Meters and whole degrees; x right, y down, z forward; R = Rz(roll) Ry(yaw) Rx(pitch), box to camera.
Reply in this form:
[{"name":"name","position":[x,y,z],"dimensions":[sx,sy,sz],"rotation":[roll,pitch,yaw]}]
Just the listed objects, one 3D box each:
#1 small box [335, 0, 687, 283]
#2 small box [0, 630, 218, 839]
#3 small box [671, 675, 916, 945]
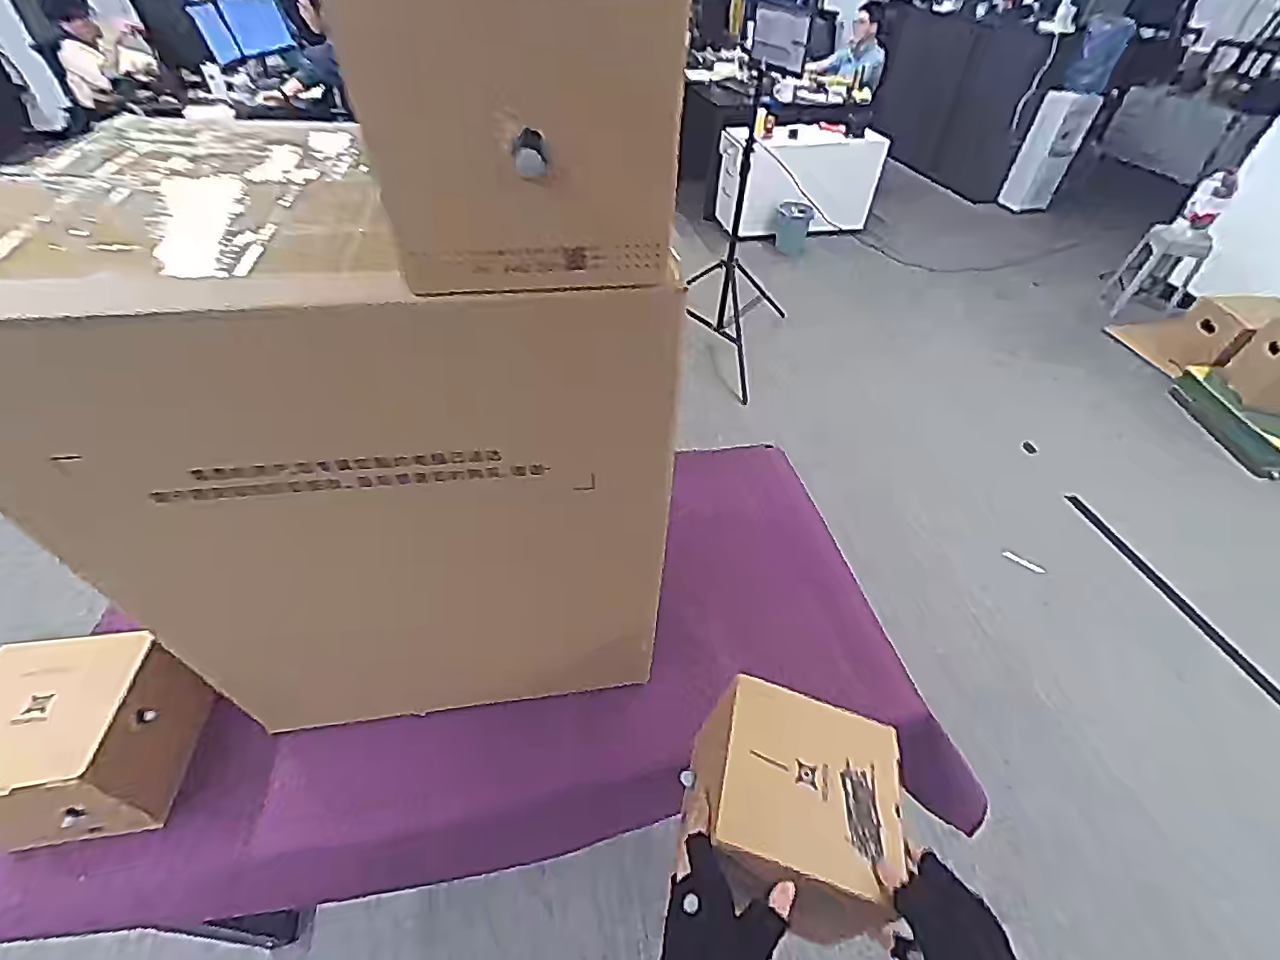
[{"name":"small box","position":[-0.067,-0.241,0.348],"dimensions":[0.168,0.176,0.179],"rotation":[-5,48,-7]},{"name":"small box","position":[-0.658,0.308,0.650],"dimensions":[0.168,0.176,0.179],"rotation":[-3,43,-11]},{"name":"small box","position":[0.150,0.341,0.557],"dimensions":[0.179,0.176,0.168],"rotation":[20,40,5]}]
